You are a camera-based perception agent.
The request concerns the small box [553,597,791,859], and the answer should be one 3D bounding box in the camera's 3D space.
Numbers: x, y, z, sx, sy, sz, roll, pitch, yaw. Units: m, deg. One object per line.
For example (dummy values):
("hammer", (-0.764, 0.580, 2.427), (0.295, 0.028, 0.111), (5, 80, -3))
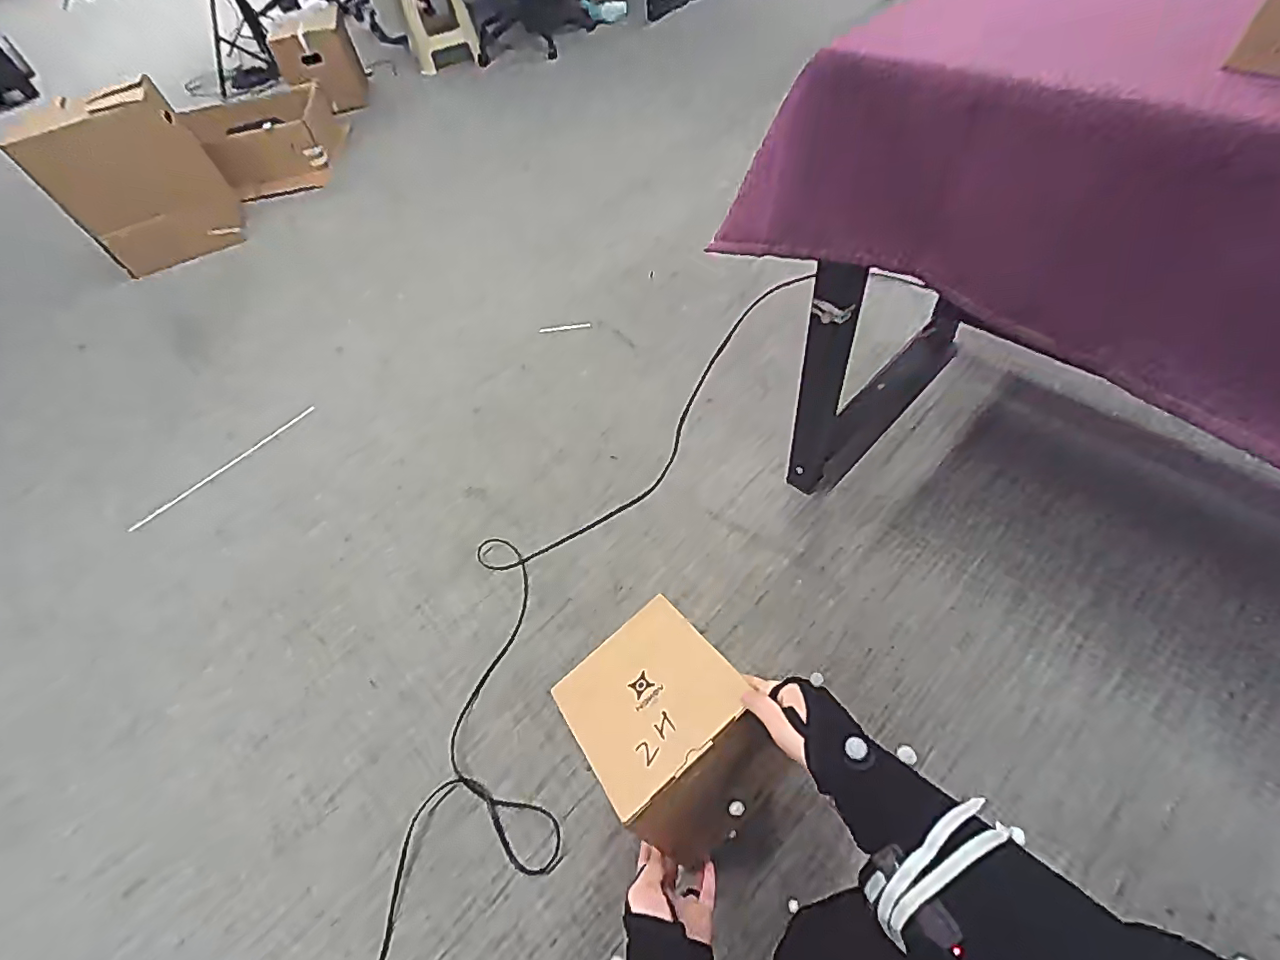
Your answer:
("small box", (0.037, 0.273, 0.602), (0.168, 0.176, 0.179), (-40, 39, -10))
